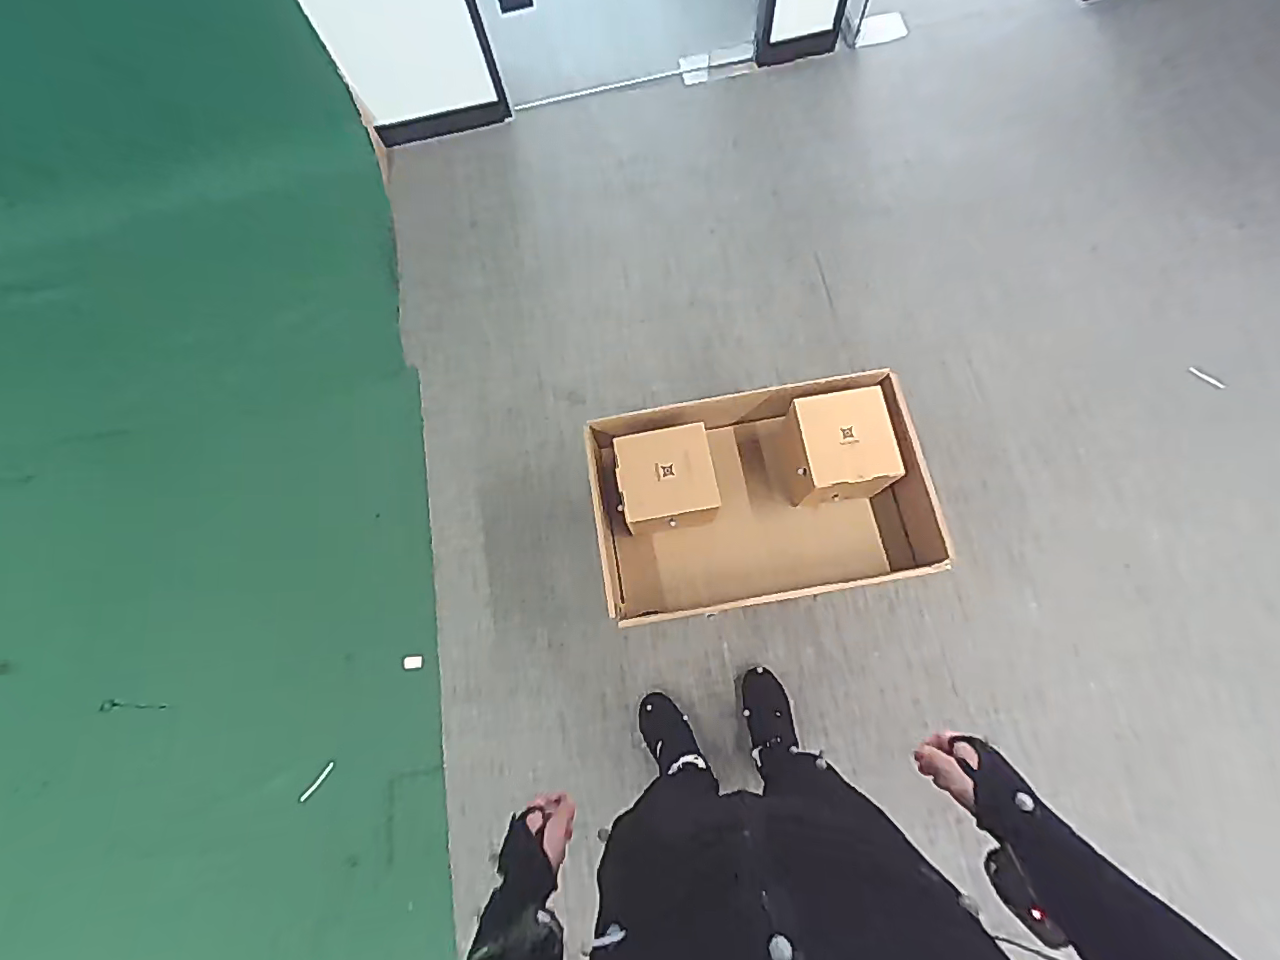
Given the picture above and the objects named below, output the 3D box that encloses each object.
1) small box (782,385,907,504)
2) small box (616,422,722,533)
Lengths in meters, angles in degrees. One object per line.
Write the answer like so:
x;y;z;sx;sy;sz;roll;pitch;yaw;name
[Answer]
0.388;-0.063;1.059;0.168;0.176;0.179;-8;75;1;small box
0.056;0.003;1.064;0.179;0.176;0.168;-9;75;1;small box
